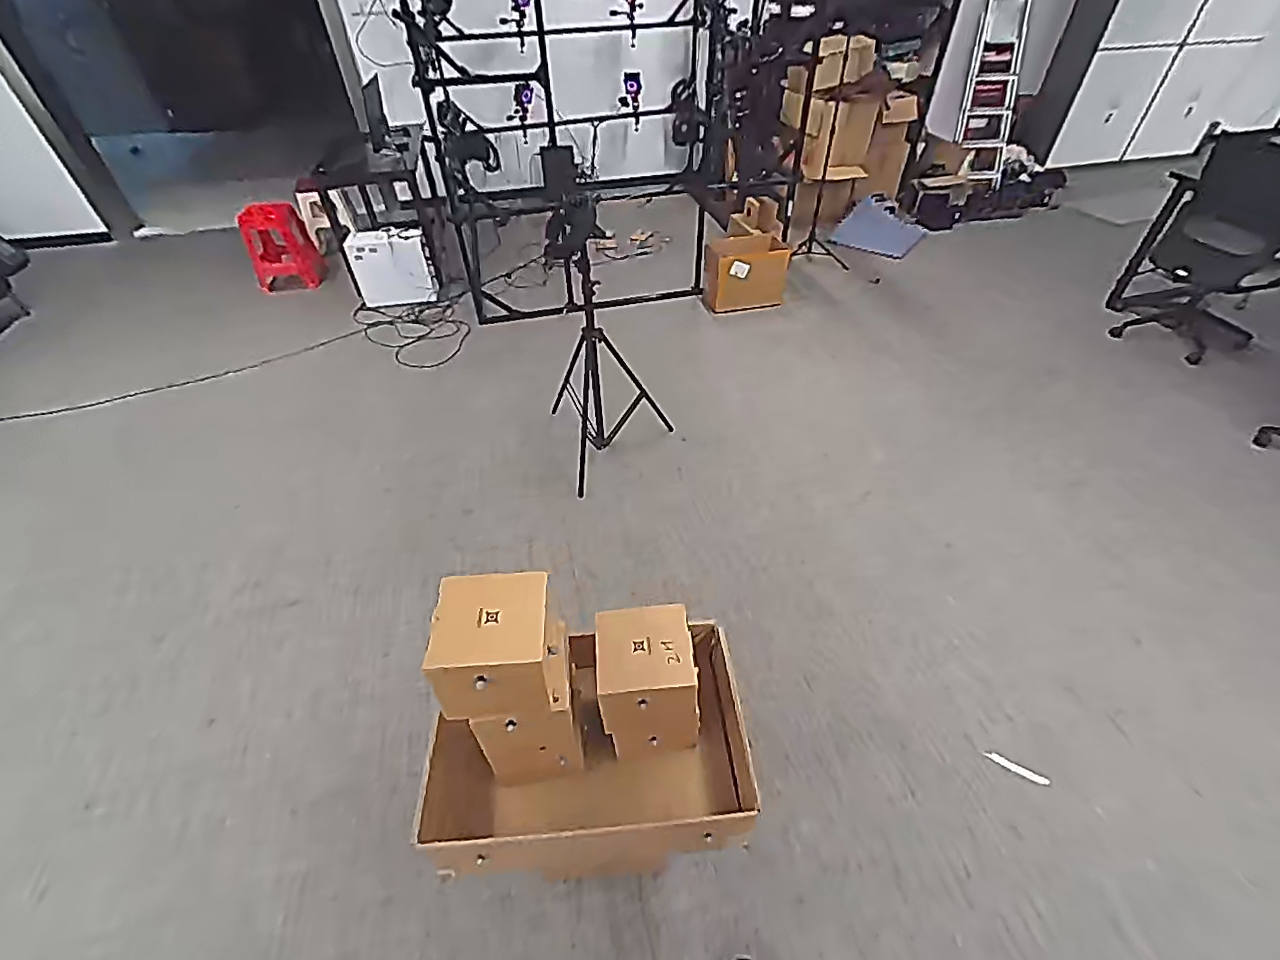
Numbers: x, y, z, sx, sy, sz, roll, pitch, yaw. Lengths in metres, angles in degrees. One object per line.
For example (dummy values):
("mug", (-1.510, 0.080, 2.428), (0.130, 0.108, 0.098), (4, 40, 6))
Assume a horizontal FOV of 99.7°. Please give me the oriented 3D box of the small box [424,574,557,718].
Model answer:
("small box", (-0.231, 0.274, 0.890), (0.179, 0.176, 0.168), (-3, 43, -4))
